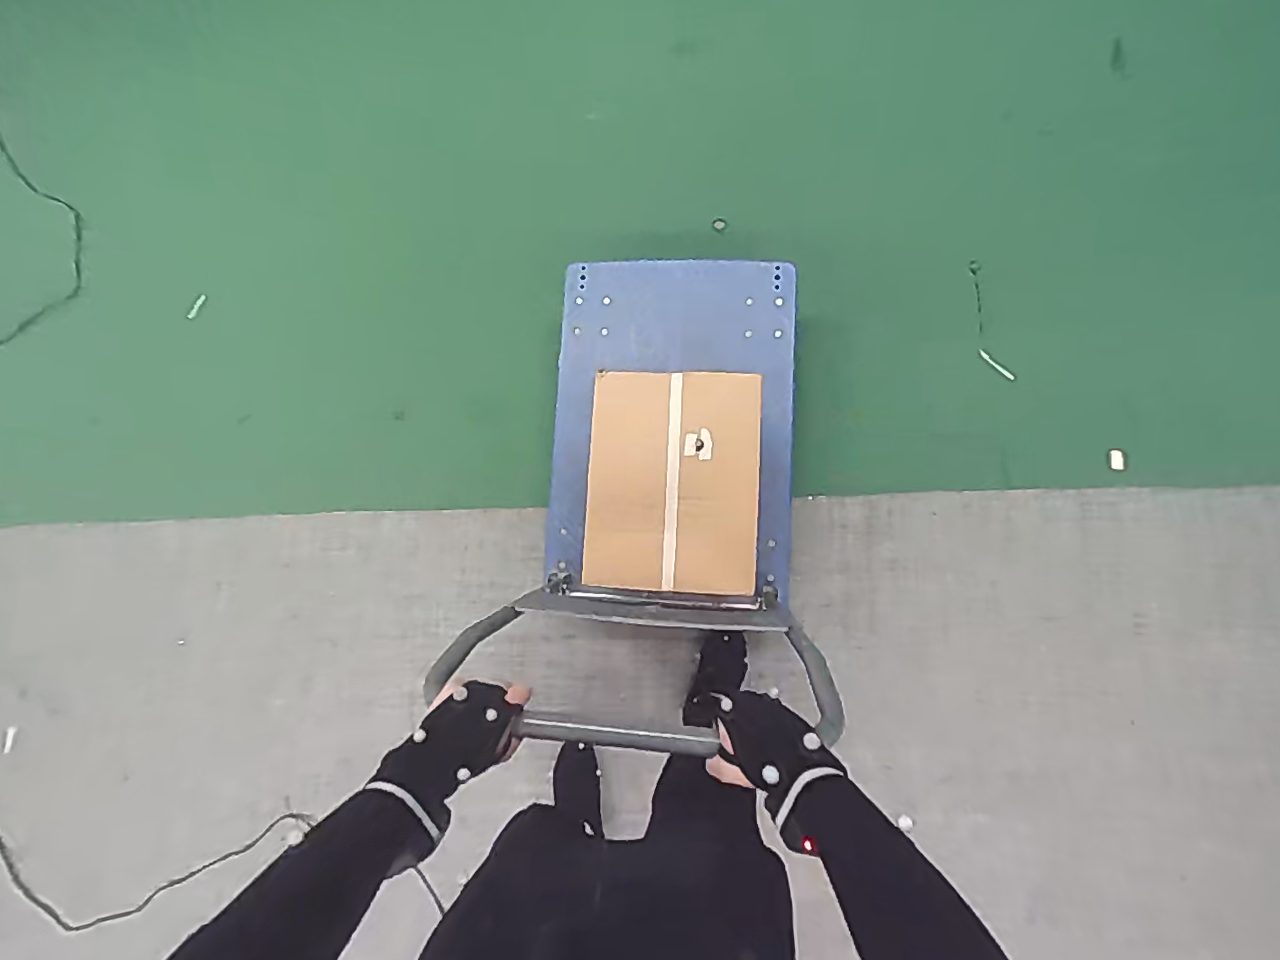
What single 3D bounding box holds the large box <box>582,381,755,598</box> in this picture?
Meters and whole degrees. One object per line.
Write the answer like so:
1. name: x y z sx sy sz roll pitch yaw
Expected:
1. large box: 0.069 0.030 1.144 0.320 0.320 0.408 2 84 6
